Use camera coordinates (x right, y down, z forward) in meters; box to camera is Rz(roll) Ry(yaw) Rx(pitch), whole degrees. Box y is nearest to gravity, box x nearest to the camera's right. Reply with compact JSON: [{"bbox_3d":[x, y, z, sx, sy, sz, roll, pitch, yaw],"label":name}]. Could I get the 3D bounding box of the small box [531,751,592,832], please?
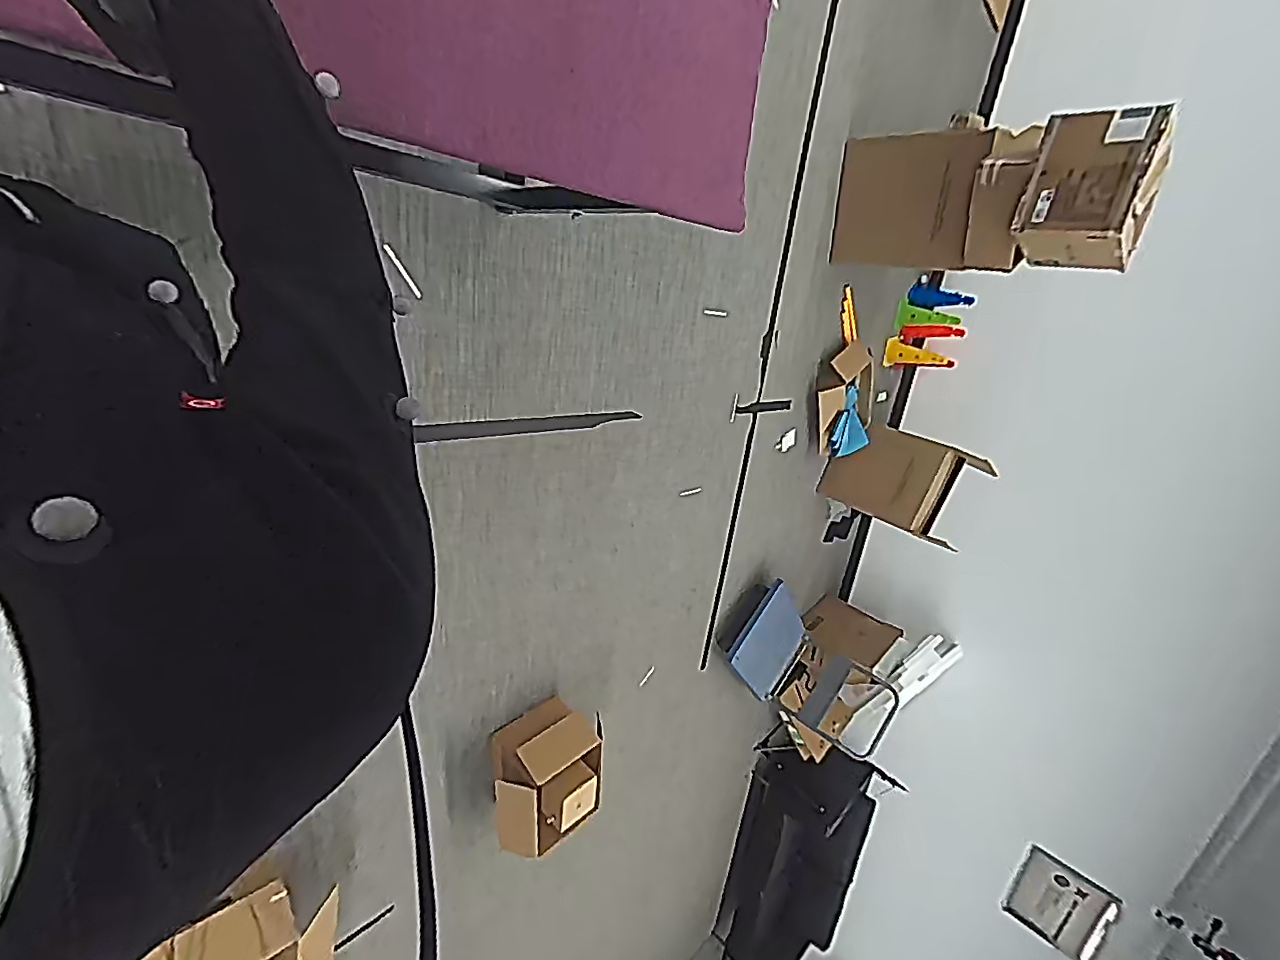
[{"bbox_3d":[-0.306,1.196,2.089,0.168,0.176,0.179,-15,119,-44],"label":"small box"}]
